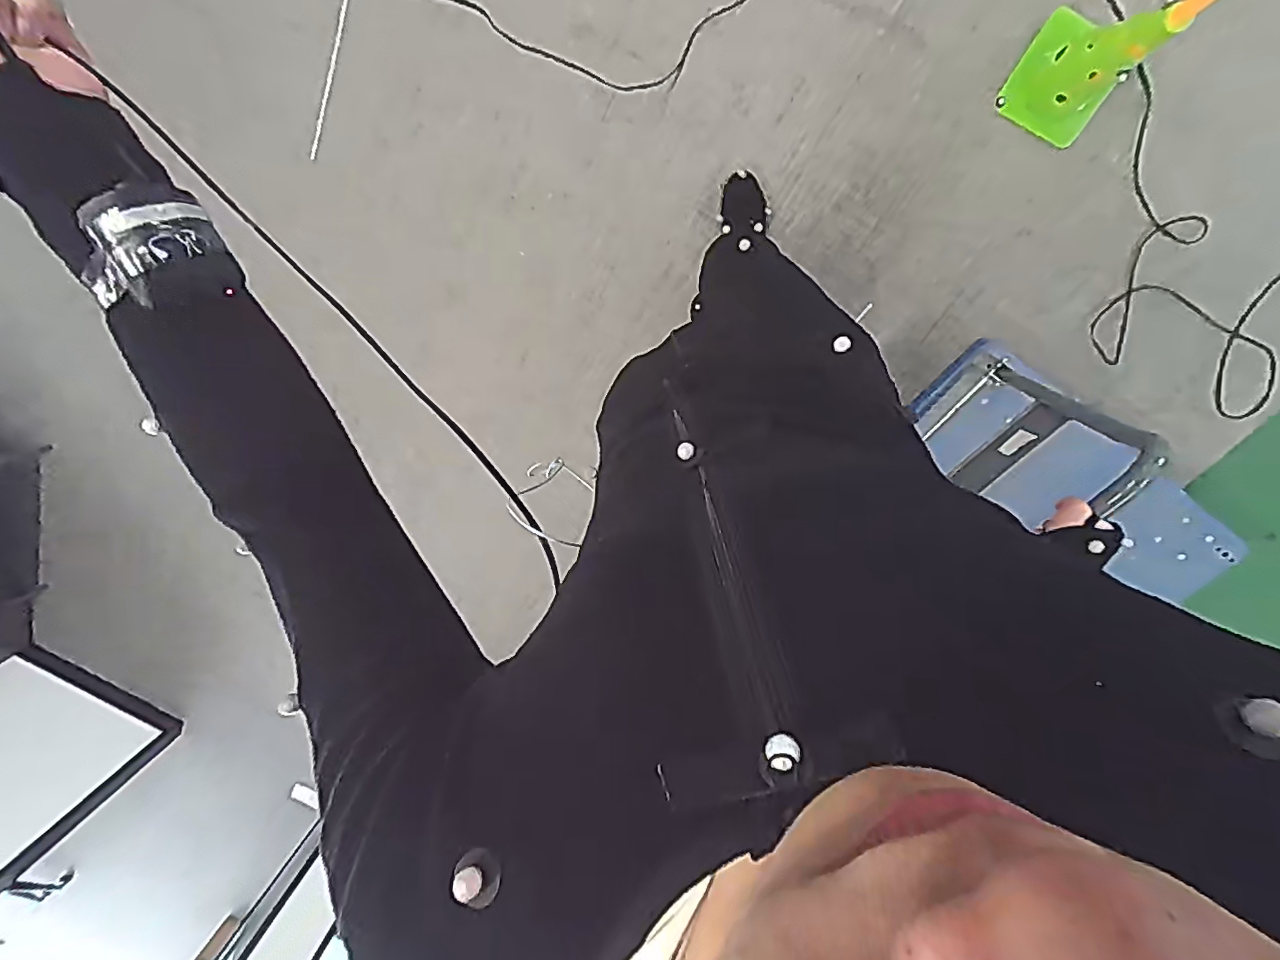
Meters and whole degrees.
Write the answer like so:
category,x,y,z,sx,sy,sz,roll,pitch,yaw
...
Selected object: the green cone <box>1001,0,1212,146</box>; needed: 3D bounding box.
category,x,y,z,sx,sy,sz,roll,pitch,yaw
green cone,0.882,-0.784,0.990,0.200,0.368,0.202,28,114,-2
